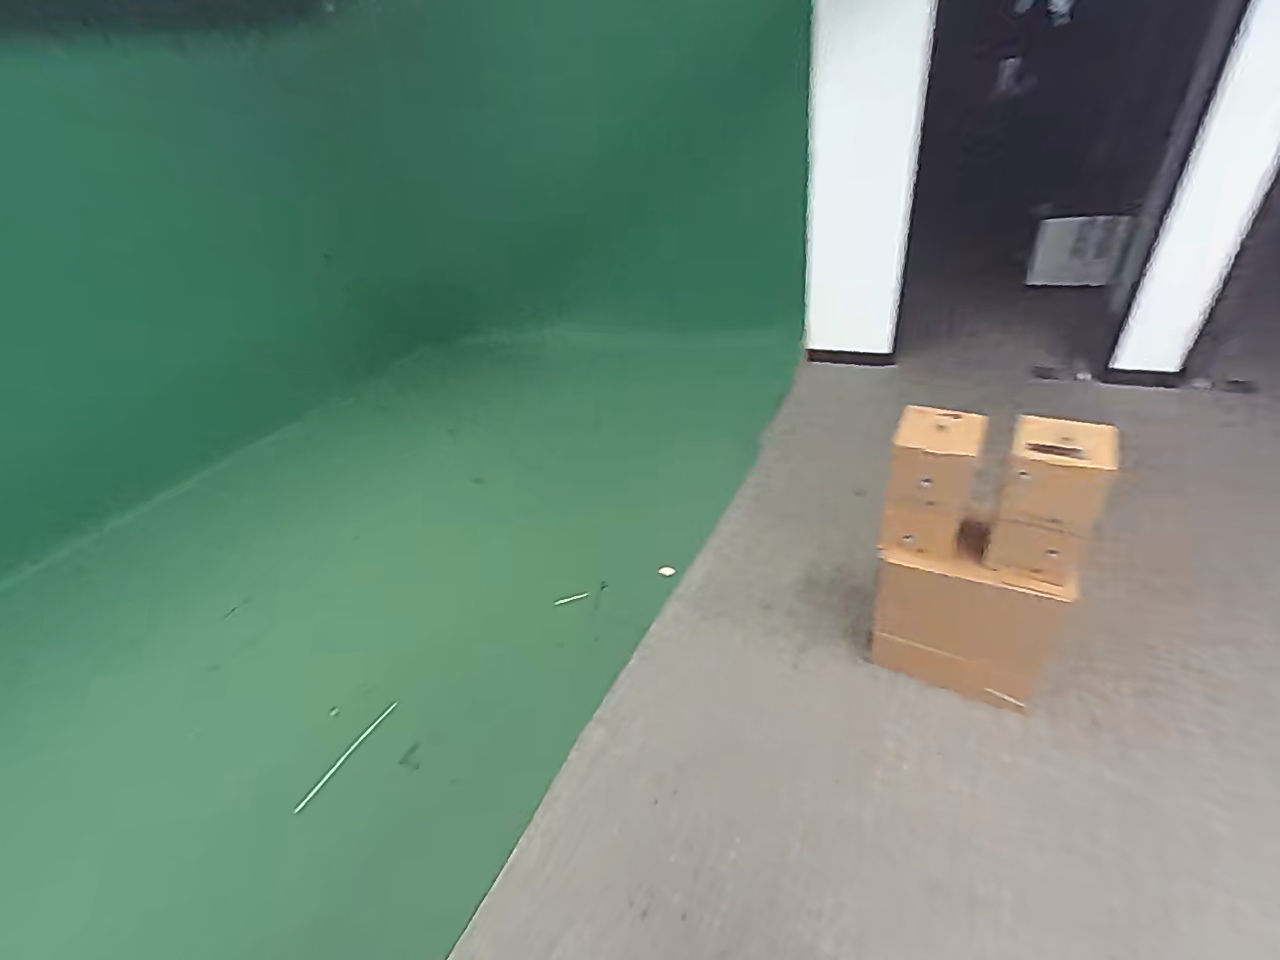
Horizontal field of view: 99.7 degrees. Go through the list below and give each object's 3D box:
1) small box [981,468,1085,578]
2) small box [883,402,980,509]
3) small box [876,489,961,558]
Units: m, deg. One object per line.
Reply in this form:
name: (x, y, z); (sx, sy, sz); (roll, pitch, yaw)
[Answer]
small box: (0.920, 0.101, 1.271); (0.168, 0.176, 0.179); (14, 43, 31)
small box: (0.681, -0.057, 1.272); (0.168, 0.176, 0.179); (14, 46, 28)
small box: (0.710, 0.066, 1.376); (0.168, 0.176, 0.179); (13, 45, 28)
